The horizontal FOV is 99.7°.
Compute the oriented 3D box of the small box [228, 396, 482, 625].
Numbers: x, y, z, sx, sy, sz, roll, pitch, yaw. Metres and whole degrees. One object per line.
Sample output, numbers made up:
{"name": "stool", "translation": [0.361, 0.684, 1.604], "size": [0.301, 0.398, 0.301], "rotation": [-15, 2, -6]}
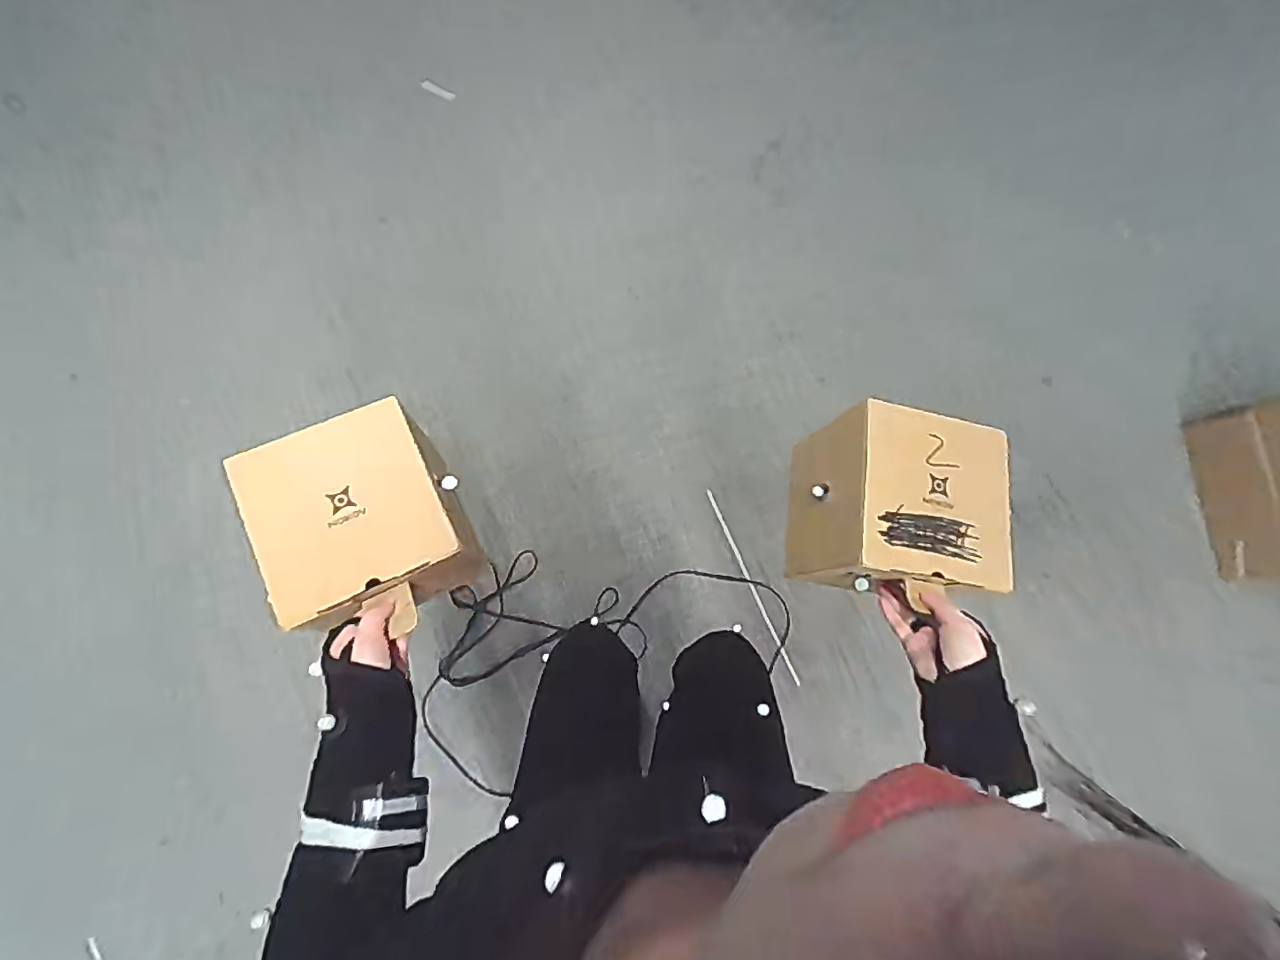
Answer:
{"name": "small box", "translation": [-0.288, 0.043, 0.582], "size": [0.168, 0.176, 0.179], "rotation": [-24, 79, -13]}
